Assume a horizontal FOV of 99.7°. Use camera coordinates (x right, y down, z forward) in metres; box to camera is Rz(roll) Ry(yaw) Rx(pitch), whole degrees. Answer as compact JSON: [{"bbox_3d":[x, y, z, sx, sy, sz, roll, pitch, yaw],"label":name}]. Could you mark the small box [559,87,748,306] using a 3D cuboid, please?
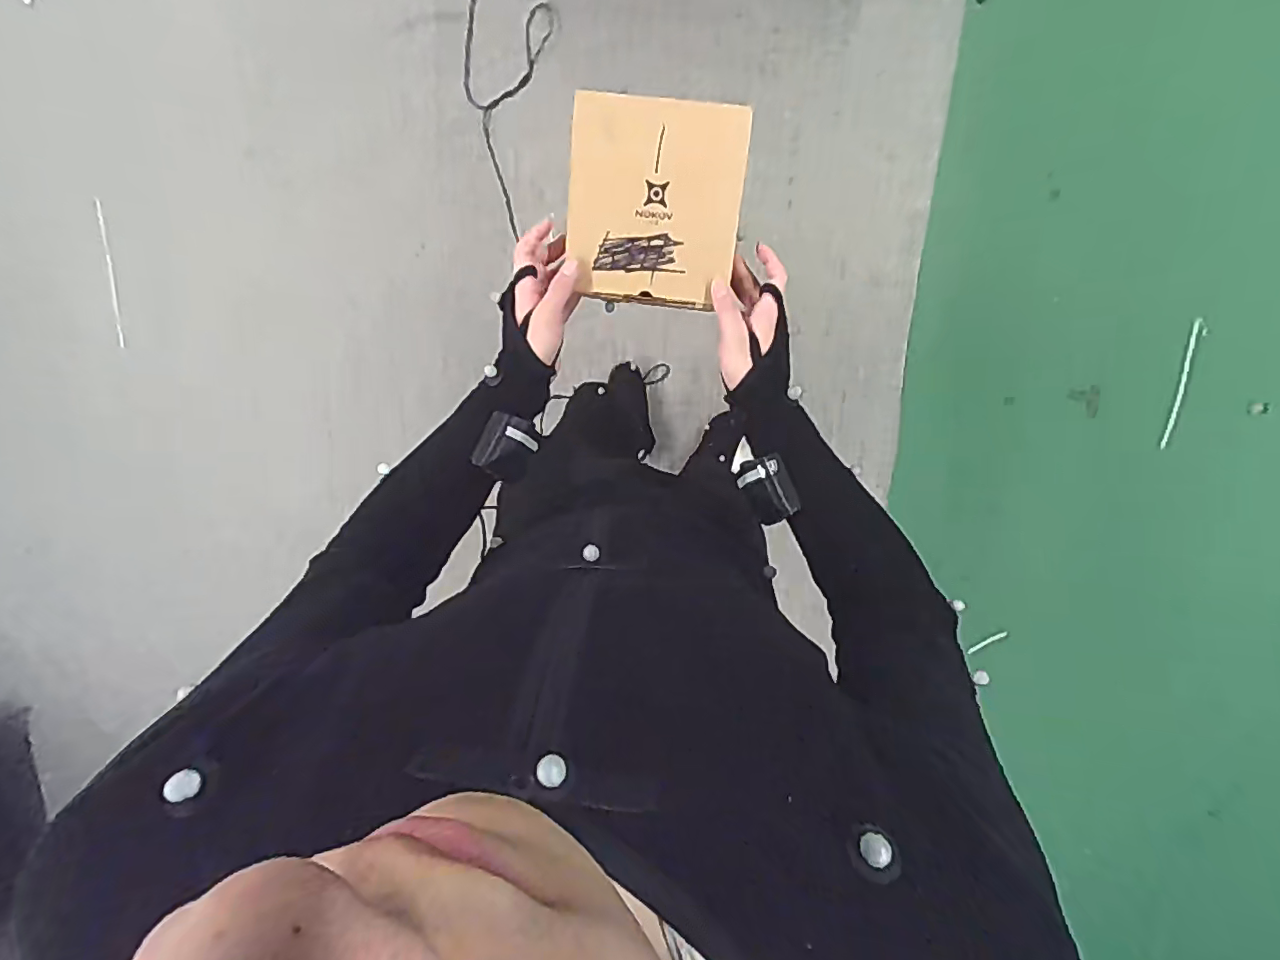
[{"bbox_3d":[0.014,-0.288,0.588,0.168,0.176,0.179,6,106,2],"label":"small box"}]
